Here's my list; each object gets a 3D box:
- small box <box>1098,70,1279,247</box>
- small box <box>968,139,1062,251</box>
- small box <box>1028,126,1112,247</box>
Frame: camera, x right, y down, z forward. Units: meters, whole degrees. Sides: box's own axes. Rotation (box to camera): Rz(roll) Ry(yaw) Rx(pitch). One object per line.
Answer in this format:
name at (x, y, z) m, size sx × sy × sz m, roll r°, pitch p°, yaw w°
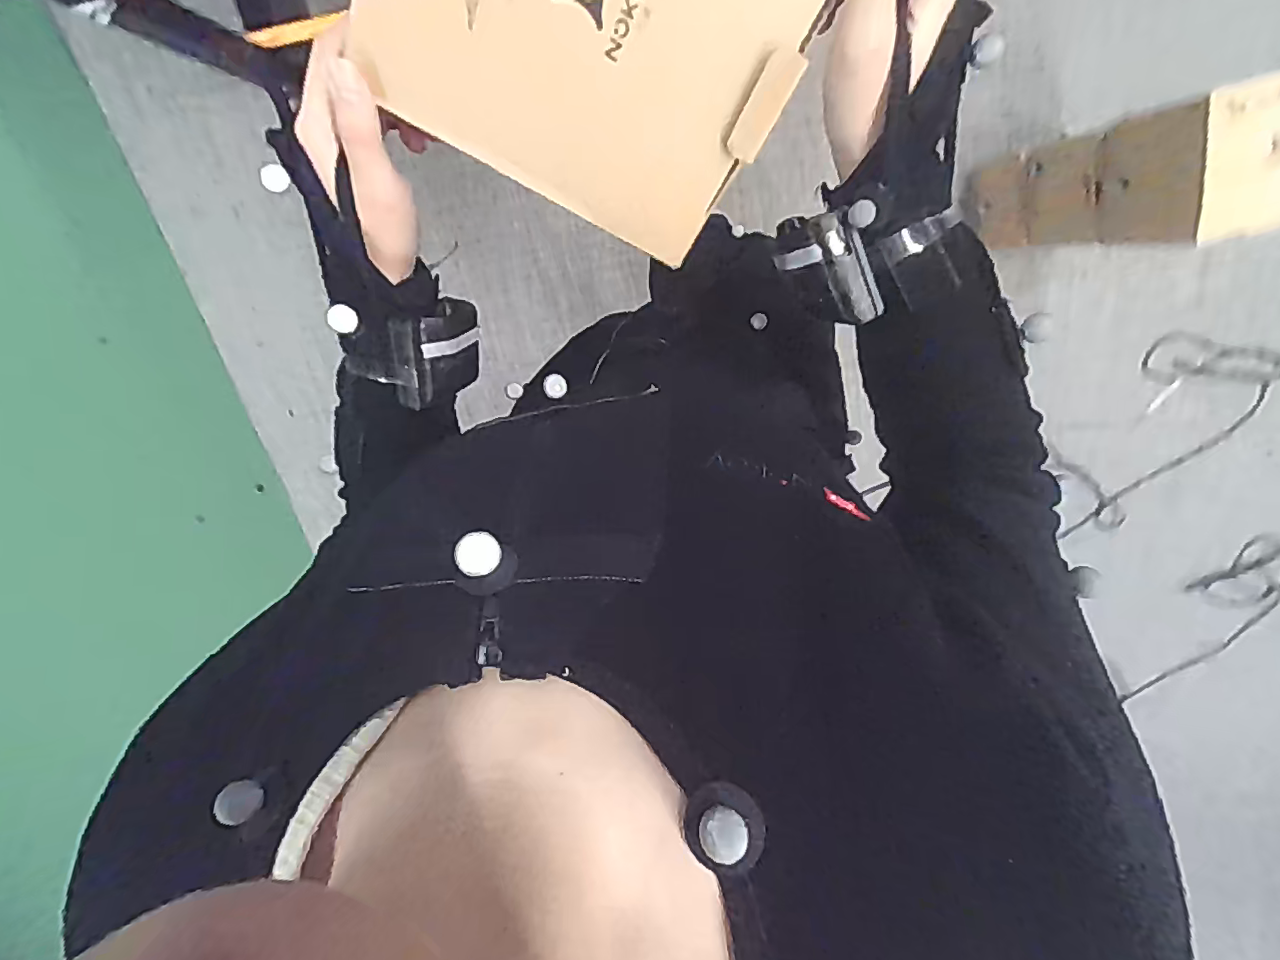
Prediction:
small box at (0.769, -0.430, 0.733) m, size 0.168 × 0.176 × 0.179 m, roll -13°, pitch 112°, yaw 8°
small box at (0.767, -0.550, 1.039) m, size 0.179 × 0.176 × 0.168 m, roll -14°, pitch 110°, yaw 9°
small box at (0.772, -0.490, 0.885) m, size 0.179 × 0.176 × 0.168 m, roll -14°, pitch 111°, yaw 7°
